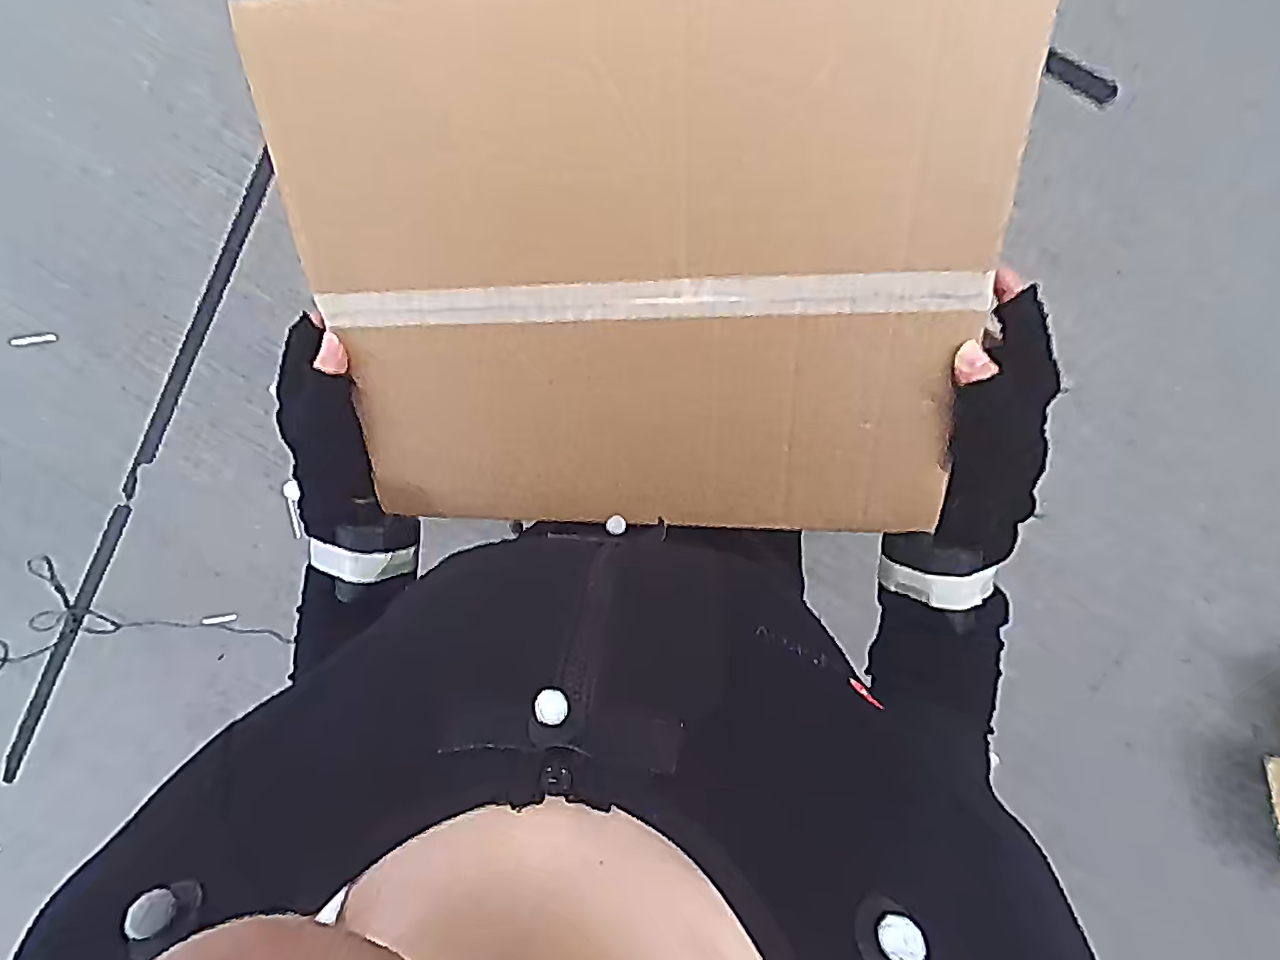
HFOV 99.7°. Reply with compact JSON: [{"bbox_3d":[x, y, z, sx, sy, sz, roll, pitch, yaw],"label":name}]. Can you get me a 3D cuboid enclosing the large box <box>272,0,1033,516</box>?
[{"bbox_3d":[0.014,-0.179,0.470,0.408,0.320,0.320,1,118,8],"label":"large box"}]
